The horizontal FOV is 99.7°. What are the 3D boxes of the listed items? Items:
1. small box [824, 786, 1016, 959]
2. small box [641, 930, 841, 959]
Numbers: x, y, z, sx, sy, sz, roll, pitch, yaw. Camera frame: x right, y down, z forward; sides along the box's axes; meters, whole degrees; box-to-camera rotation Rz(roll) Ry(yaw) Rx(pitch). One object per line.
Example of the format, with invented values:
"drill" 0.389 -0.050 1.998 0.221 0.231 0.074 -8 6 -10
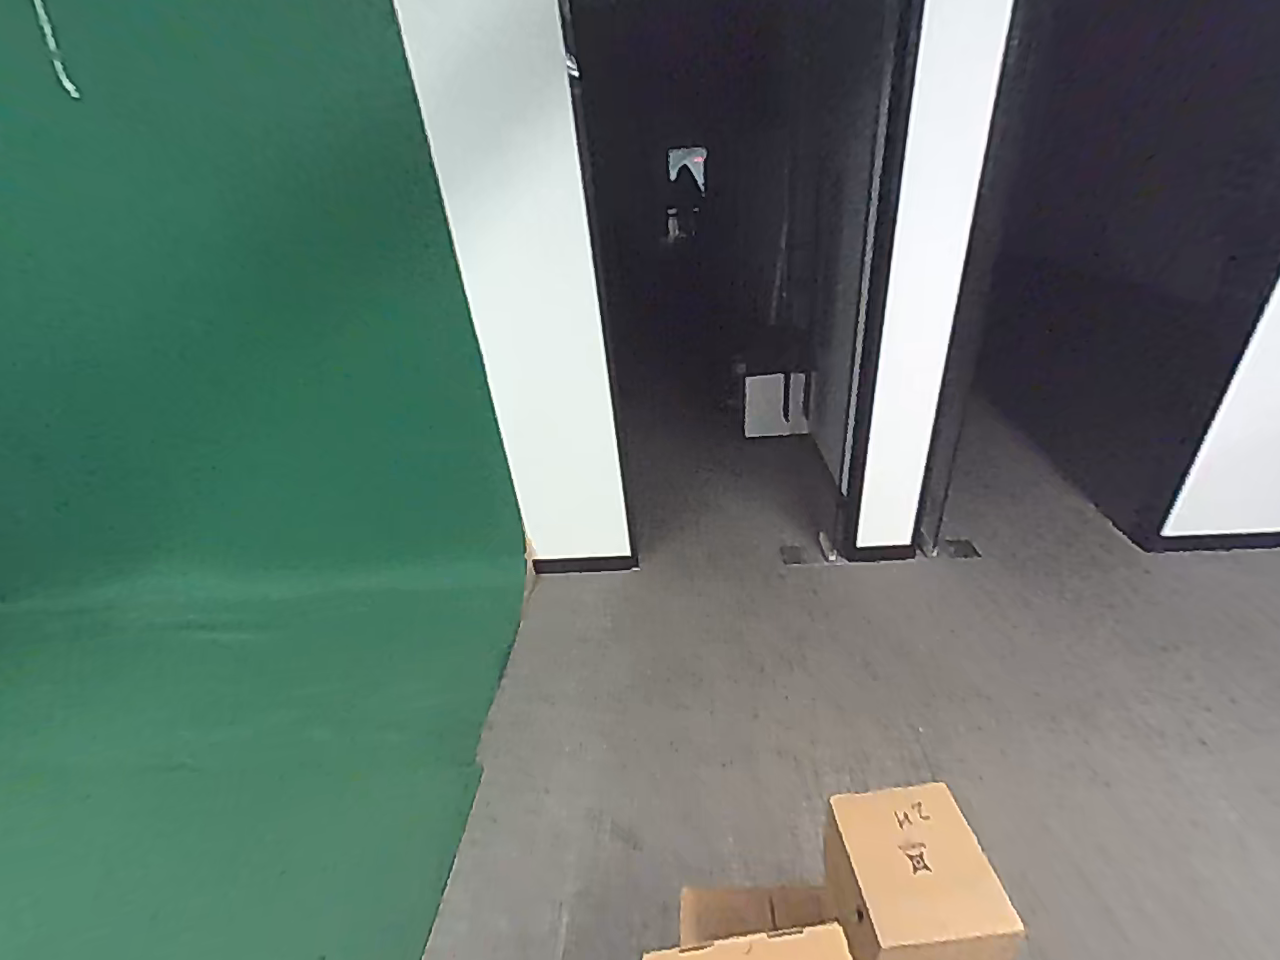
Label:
"small box" 0.358 0.552 0.728 0.168 0.176 0.179 -7 29 2
"small box" 0.097 0.499 0.431 0.168 0.176 0.179 -9 38 0
